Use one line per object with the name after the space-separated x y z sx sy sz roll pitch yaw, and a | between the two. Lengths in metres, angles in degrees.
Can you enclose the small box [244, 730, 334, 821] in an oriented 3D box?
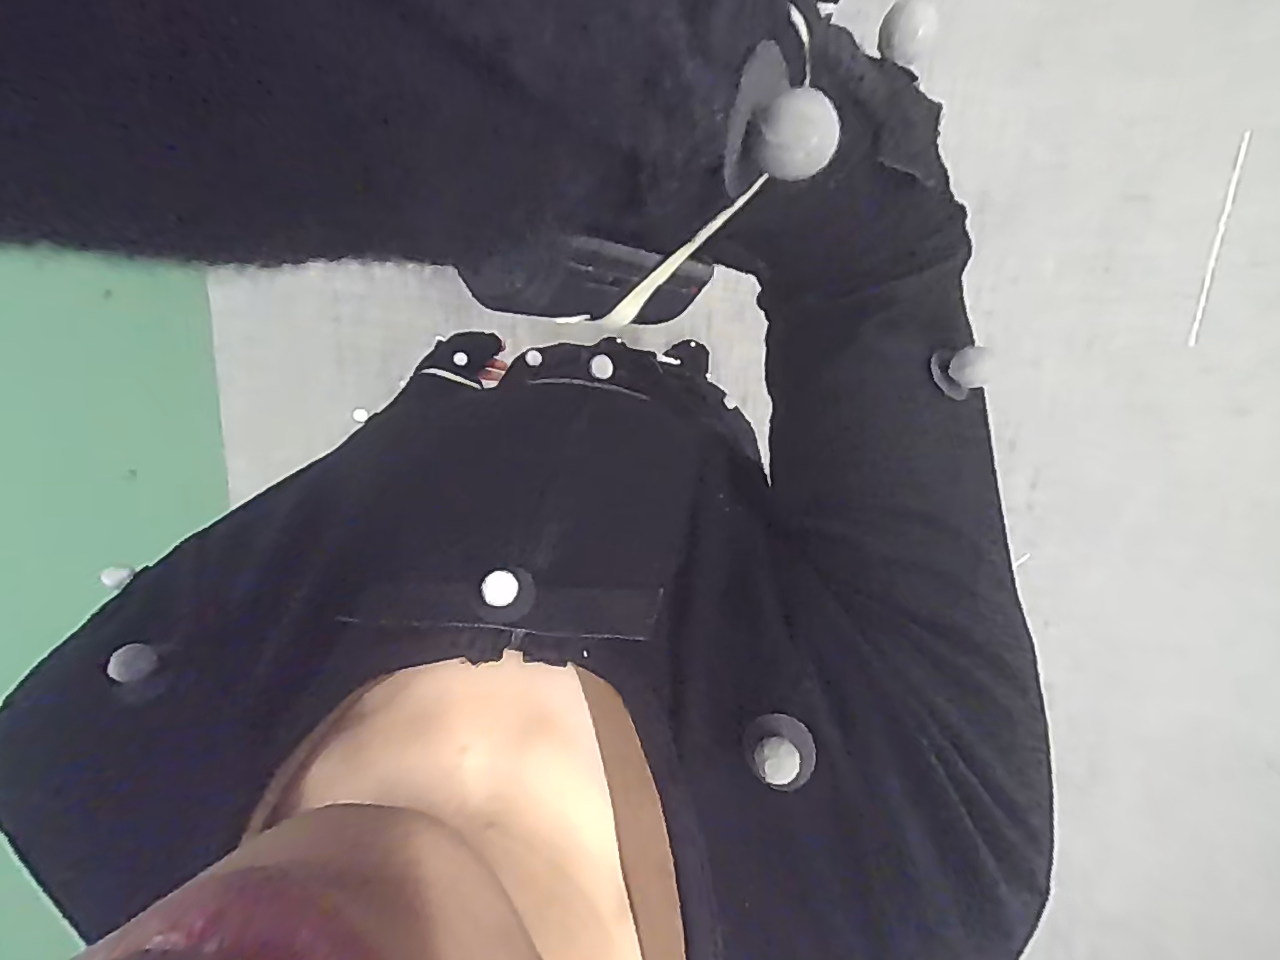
-1.064 0.896 1.651 0.168 0.176 0.179 6 103 2 | small box
